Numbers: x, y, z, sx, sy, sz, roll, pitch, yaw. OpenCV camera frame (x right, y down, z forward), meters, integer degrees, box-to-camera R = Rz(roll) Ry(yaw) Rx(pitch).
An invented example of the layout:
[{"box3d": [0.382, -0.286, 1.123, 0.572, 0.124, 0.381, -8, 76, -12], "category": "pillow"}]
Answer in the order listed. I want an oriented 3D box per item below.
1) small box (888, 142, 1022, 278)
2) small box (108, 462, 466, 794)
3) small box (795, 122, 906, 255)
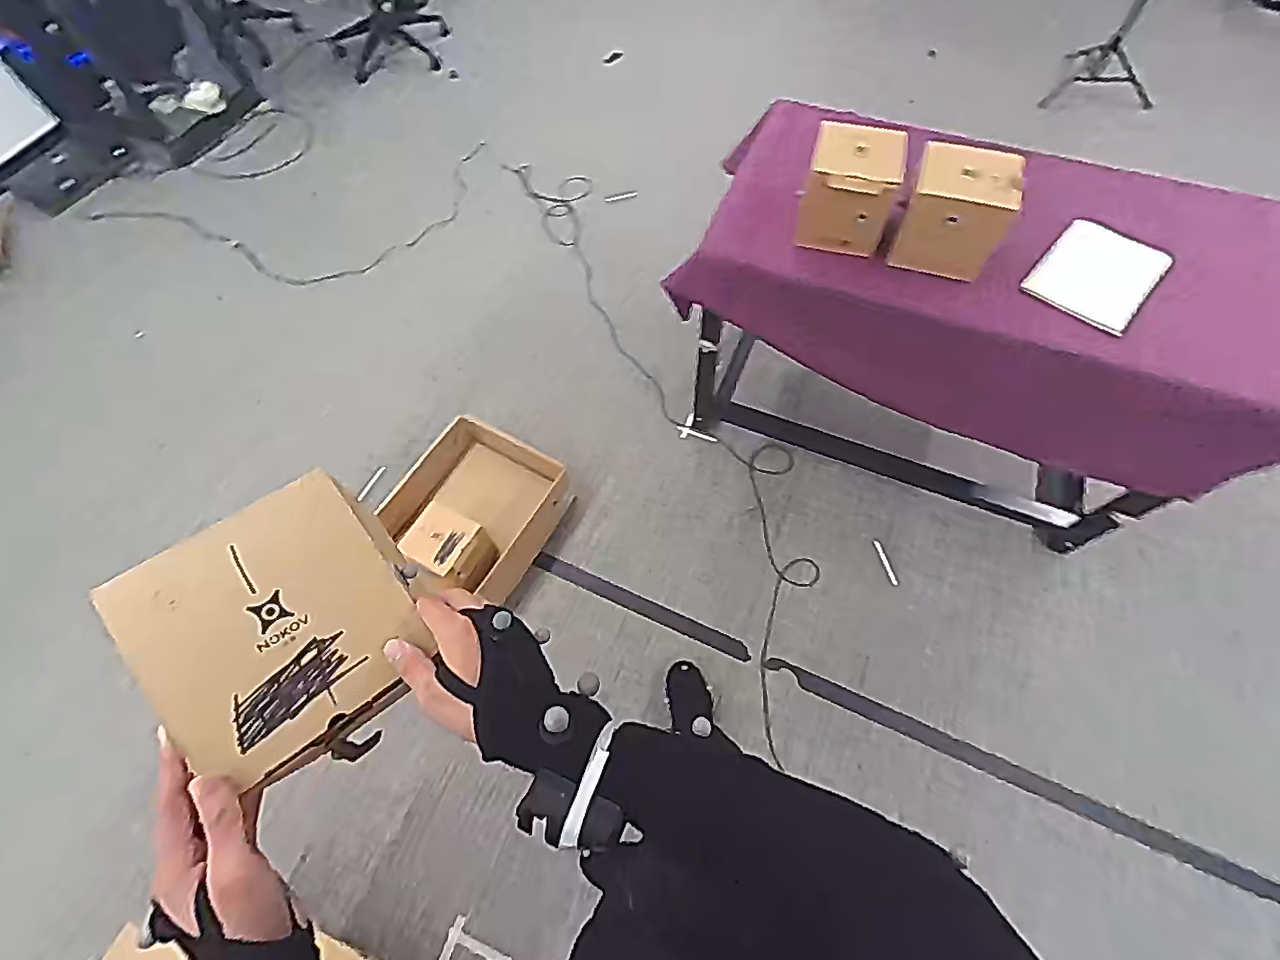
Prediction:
[{"box3d": [0.619, -0.533, 1.078, 0.179, 0.176, 0.168, 17, 65, 10], "category": "small box"}, {"box3d": [-0.267, 0.117, 0.459, 0.168, 0.176, 0.179, -34, 82, -20], "category": "small box"}, {"box3d": [0.430, -0.599, 1.121, 0.168, 0.176, 0.179, 14, 64, 8], "category": "small box"}]
